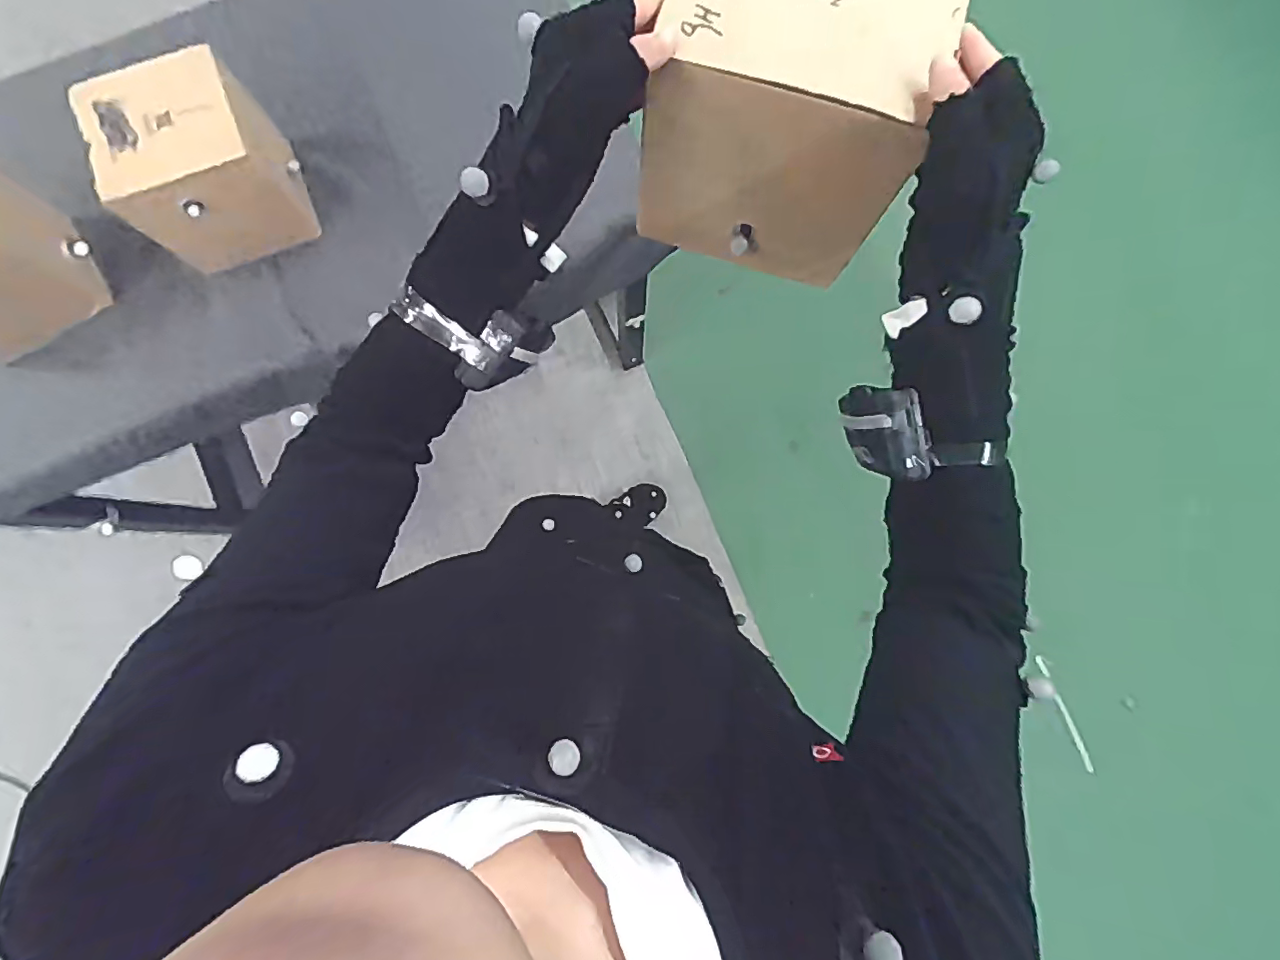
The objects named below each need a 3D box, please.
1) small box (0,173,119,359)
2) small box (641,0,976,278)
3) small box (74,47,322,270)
[{"bbox_3d":[-0.866,-0.287,0.709,0.179,0.176,0.168,-32,85,-6],"label":"small box"},{"bbox_3d":[0.109,-0.280,0.401,0.179,0.176,0.168,17,78,0],"label":"small box"},{"bbox_3d":[-0.578,-0.417,0.730,0.179,0.176,0.168,-22,84,-4],"label":"small box"}]
